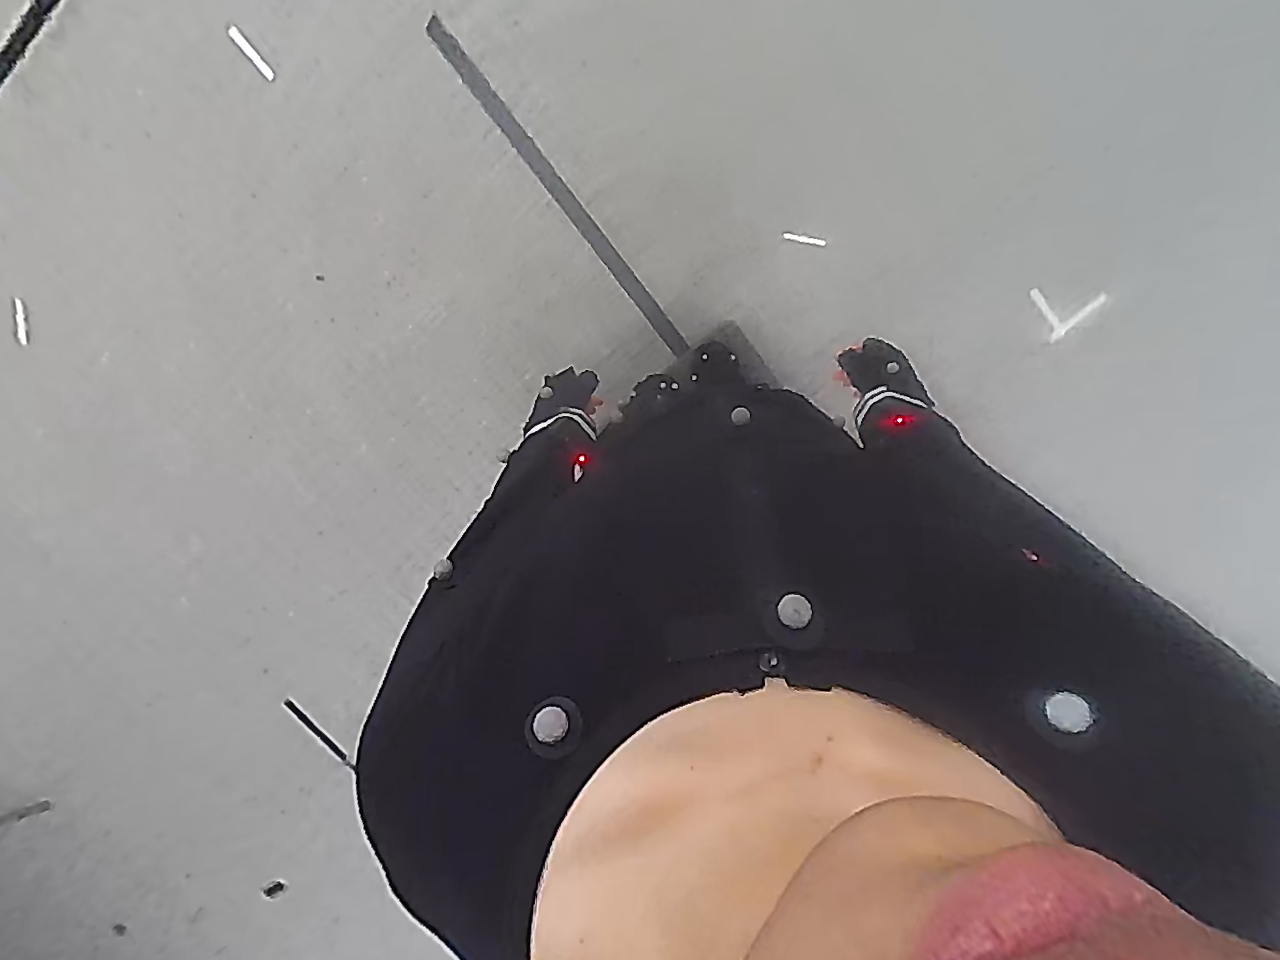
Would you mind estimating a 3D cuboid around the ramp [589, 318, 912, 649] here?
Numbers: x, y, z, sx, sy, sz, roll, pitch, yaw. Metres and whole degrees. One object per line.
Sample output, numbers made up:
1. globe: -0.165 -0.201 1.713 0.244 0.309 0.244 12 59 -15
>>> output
1. ramp: 0.362 0.070 1.586 0.509 0.206 0.991 -41 99 10
